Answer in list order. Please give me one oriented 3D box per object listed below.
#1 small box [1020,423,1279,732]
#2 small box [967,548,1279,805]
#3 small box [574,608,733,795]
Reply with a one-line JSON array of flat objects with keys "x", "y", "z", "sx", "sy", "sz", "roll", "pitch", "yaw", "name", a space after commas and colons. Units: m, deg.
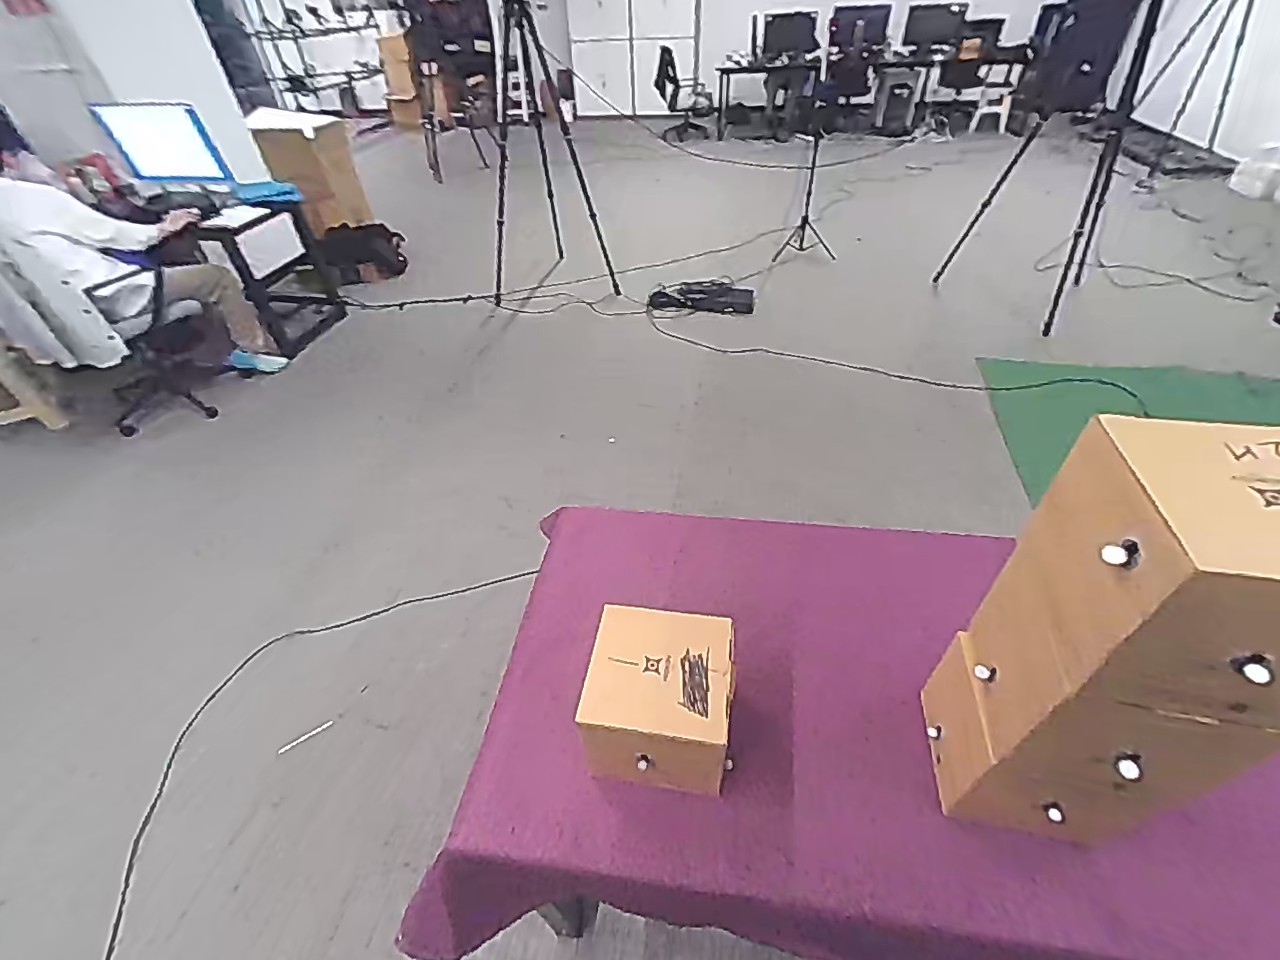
[{"x": 0.451, "y": 0.076, "z": 0.440, "sx": 0.168, "sy": 0.176, "sz": 0.179, "roll": 7, "pitch": 42, "yaw": 12, "name": "small box"}, {"x": 0.461, "y": 0.199, "z": 0.551, "sx": 0.168, "sy": 0.176, "sz": 0.179, "roll": 8, "pitch": 44, "yaw": 13, "name": "small box"}, {"x": 0.027, "y": 0.296, "z": 0.719, "sx": 0.179, "sy": 0.176, "sz": 0.168, "roll": 4, "pitch": 42, "yaw": 10, "name": "small box"}]
